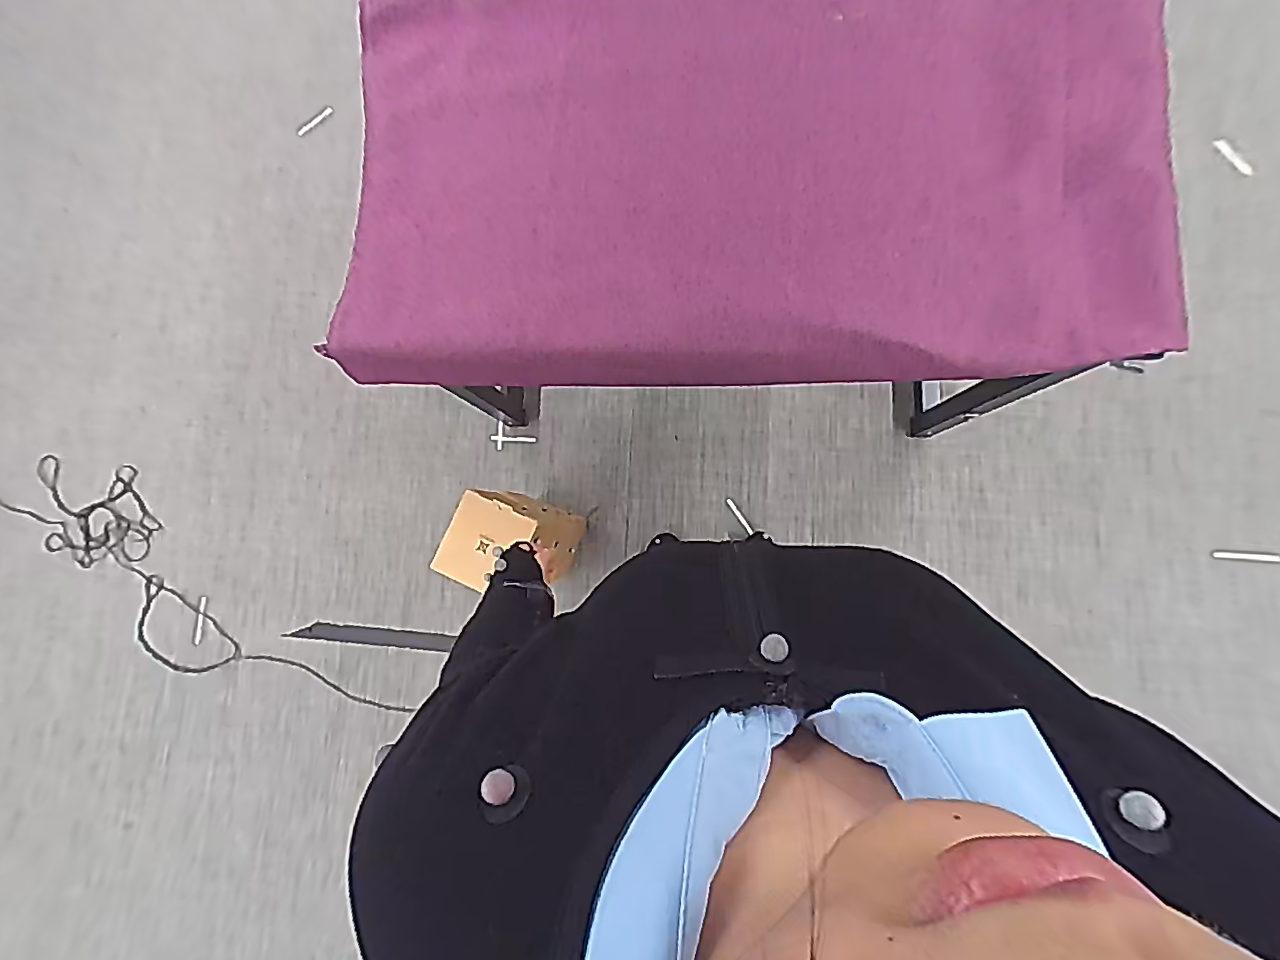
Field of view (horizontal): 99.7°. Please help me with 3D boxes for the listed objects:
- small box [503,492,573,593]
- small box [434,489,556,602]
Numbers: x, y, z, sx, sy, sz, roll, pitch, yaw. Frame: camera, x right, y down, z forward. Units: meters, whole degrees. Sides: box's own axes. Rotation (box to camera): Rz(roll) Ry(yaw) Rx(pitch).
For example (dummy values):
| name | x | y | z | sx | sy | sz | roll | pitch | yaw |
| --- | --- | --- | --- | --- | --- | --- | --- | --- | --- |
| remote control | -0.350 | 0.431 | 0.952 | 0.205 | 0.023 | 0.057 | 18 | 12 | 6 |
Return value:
| name | x | y | z | sx | sy | sz | roll | pitch | yaw |
| --- | --- | --- | --- | --- | --- | --- | --- | --- | --- |
| small box | -0.276 | 0.146 | 1.302 | 0.168 | 0.176 | 0.179 | 31 | 89 | 7 |
| small box | -0.294 | 0.136 | 1.140 | 0.168 | 0.176 | 0.179 | 24 | 87 | 6 |
